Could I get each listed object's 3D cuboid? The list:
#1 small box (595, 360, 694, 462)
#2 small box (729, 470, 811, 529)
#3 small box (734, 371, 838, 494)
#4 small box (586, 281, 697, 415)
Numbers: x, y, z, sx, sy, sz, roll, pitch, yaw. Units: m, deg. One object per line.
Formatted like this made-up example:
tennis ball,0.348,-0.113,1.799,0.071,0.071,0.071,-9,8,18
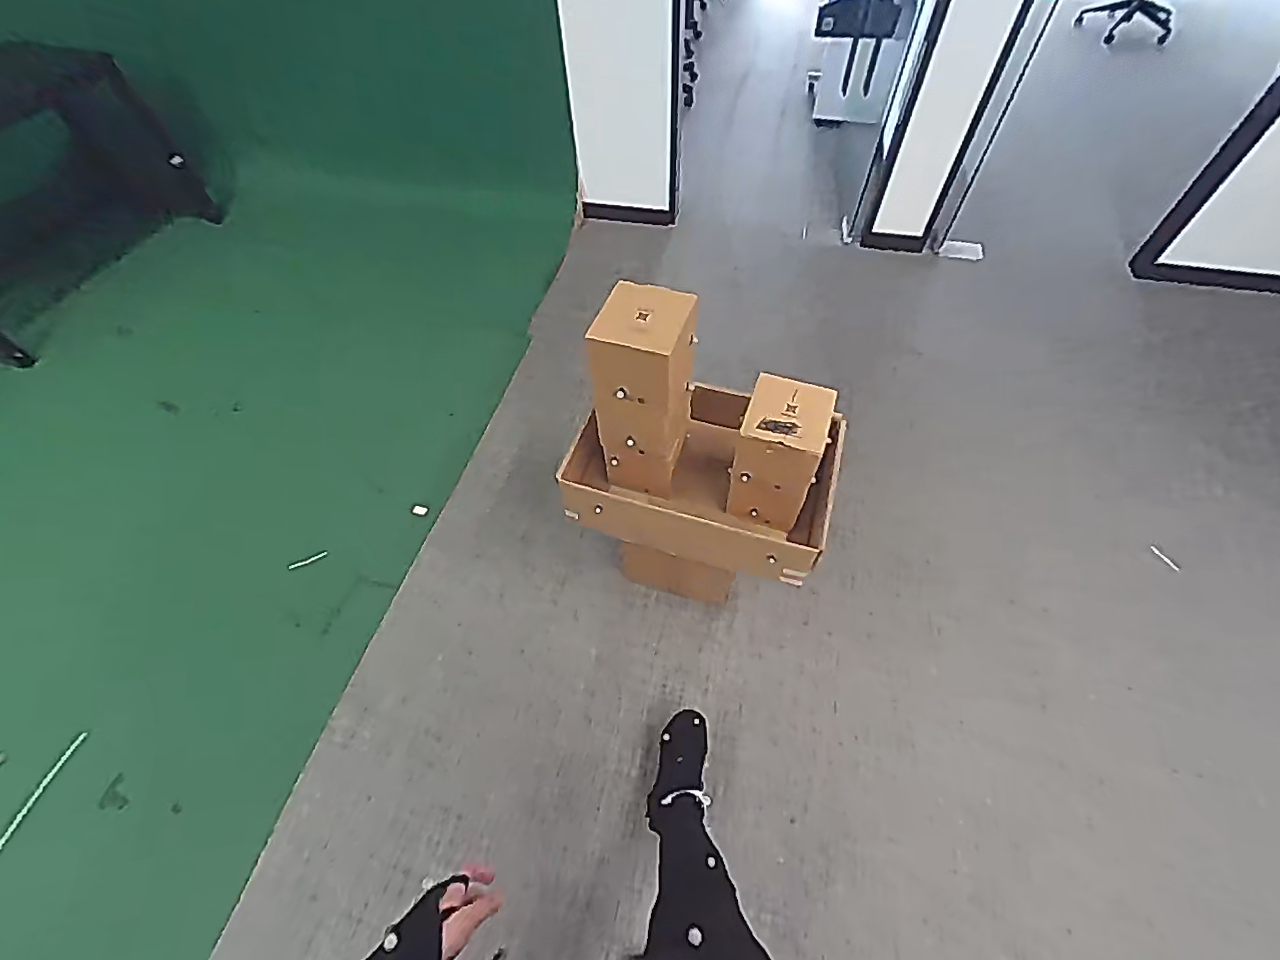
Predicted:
small box,0.014,-0.171,1.209,0.168,0.176,0.179,16,59,14
small box,0.314,-0.010,1.286,0.168,0.176,0.179,15,59,12
small box,0.303,-0.096,1.145,0.168,0.176,0.179,16,59,12
small box,0.007,-0.260,1.073,0.168,0.176,0.179,15,59,14
